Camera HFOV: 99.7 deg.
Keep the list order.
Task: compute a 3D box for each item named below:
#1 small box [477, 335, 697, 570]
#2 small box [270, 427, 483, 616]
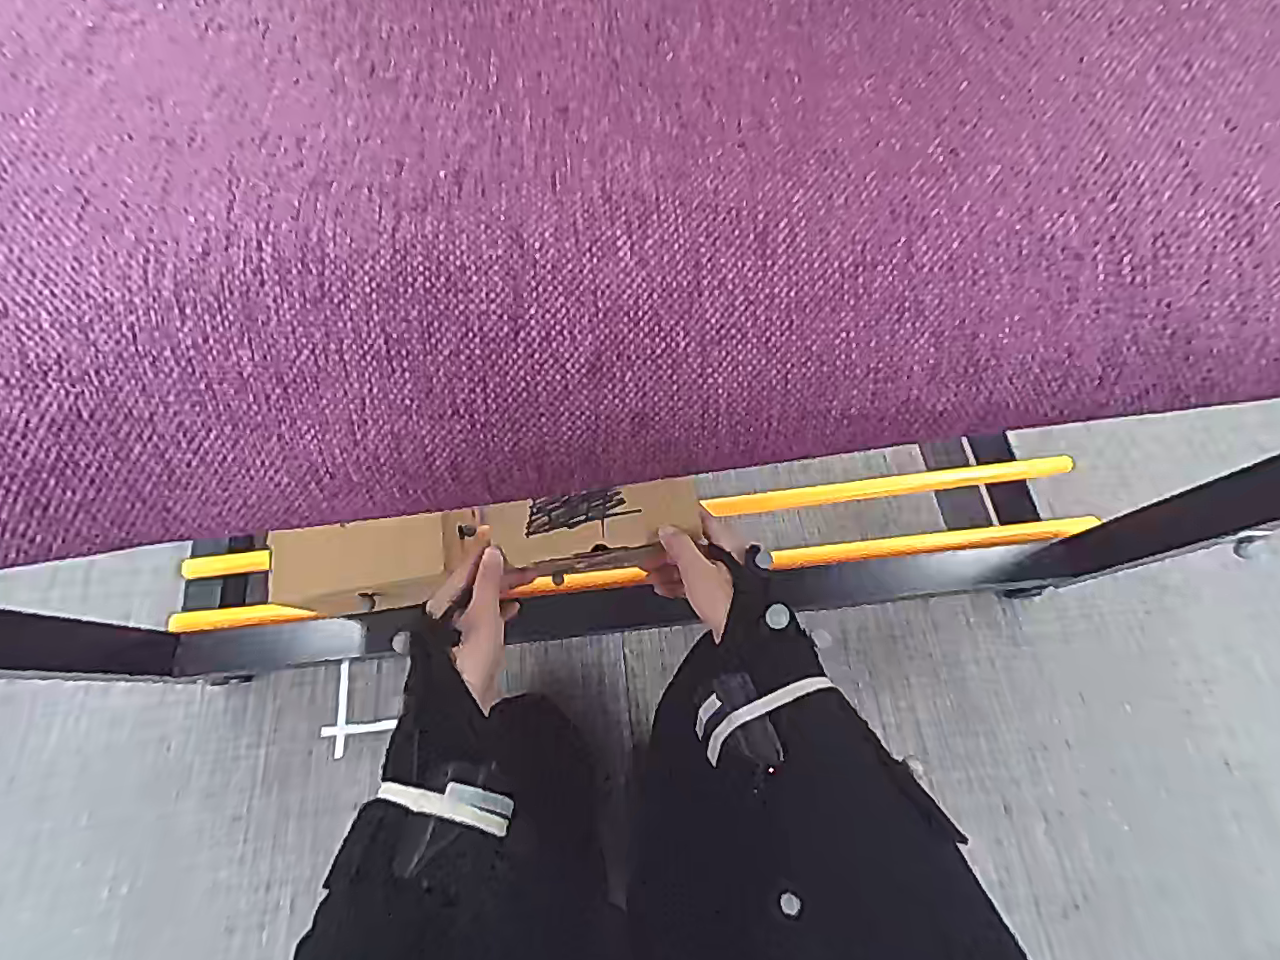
[{"bbox_3d":[-0.047,-0.012,0.514,0.168,0.176,0.179,-8,76,-4],"label":"small box"},{"bbox_3d":[-0.290,0.057,0.633,0.179,0.176,0.168,-10,70,-4],"label":"small box"}]
